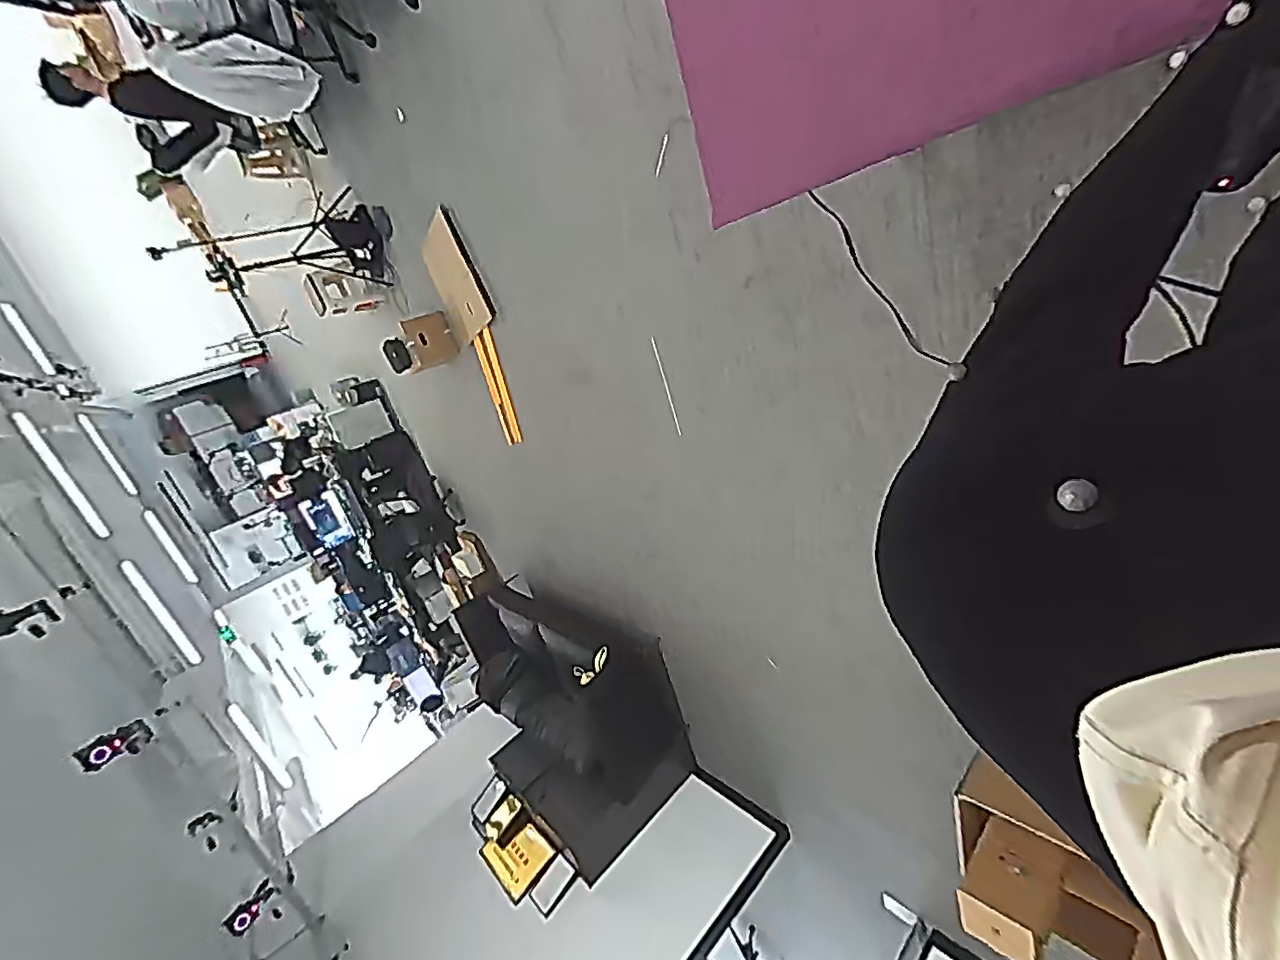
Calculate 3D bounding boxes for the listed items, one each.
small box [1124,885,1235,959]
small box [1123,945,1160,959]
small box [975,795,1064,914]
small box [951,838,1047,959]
[{"bbox_3d":[1.282,1.135,1.289,0.168,0.176,0.179,11,125,48],"label":"small box"},{"bbox_3d":[1.164,1.207,1.199,0.168,0.176,0.179,13,126,46],"label":"small box"},{"bbox_3d":[1.049,1.022,1.493,0.168,0.176,0.179,9,124,49],"label":"small box"},{"bbox_3d":[0.934,1.092,1.402,0.168,0.176,0.179,7,122,49],"label":"small box"}]
